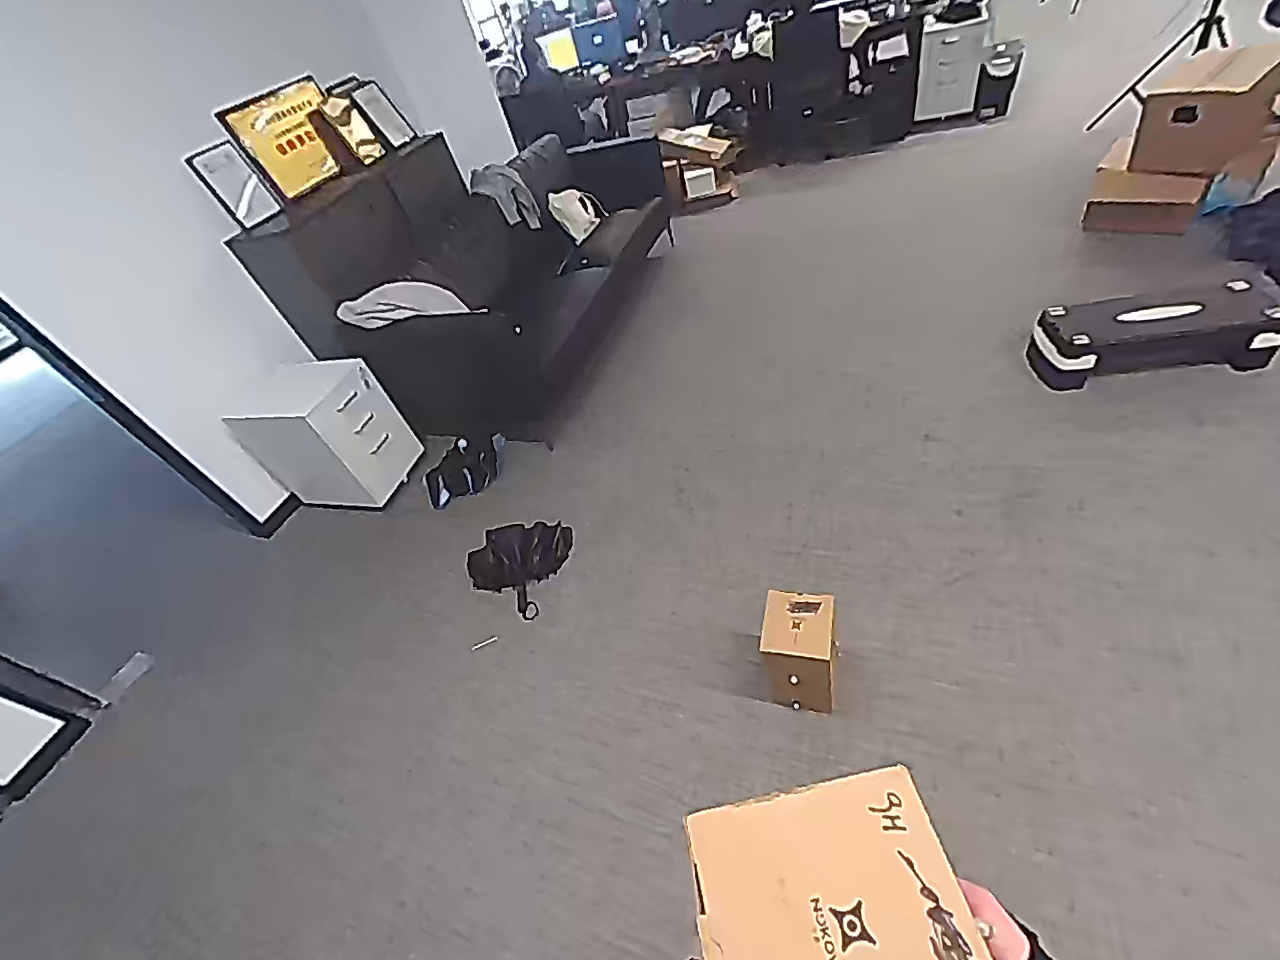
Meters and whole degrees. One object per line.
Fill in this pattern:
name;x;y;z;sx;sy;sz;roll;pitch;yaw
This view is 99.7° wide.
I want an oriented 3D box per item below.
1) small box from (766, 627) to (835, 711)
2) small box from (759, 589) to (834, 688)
small box;0.454;0.516;1.510;0.168;0.176;0.179;1;48;23
small box;0.408;0.407;1.395;0.168;0.176;0.179;1;47;23
